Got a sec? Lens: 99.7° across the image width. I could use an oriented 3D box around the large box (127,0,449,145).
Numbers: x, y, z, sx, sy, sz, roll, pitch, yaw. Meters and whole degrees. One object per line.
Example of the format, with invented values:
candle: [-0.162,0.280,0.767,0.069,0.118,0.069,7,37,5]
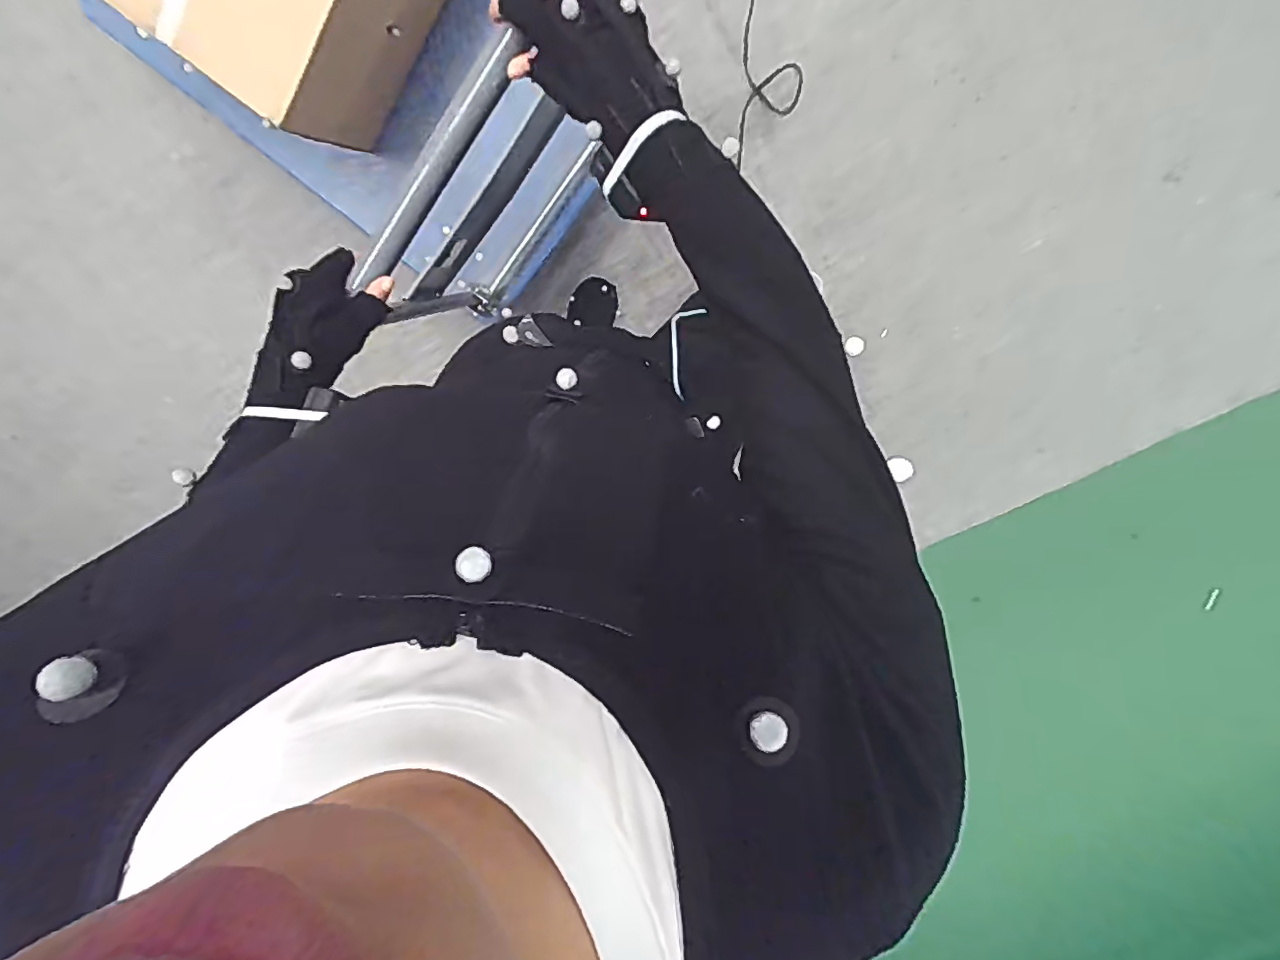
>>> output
large box: [-0.501,-0.802,0.806,0.320,0.320,0.408,35,110,-16]
